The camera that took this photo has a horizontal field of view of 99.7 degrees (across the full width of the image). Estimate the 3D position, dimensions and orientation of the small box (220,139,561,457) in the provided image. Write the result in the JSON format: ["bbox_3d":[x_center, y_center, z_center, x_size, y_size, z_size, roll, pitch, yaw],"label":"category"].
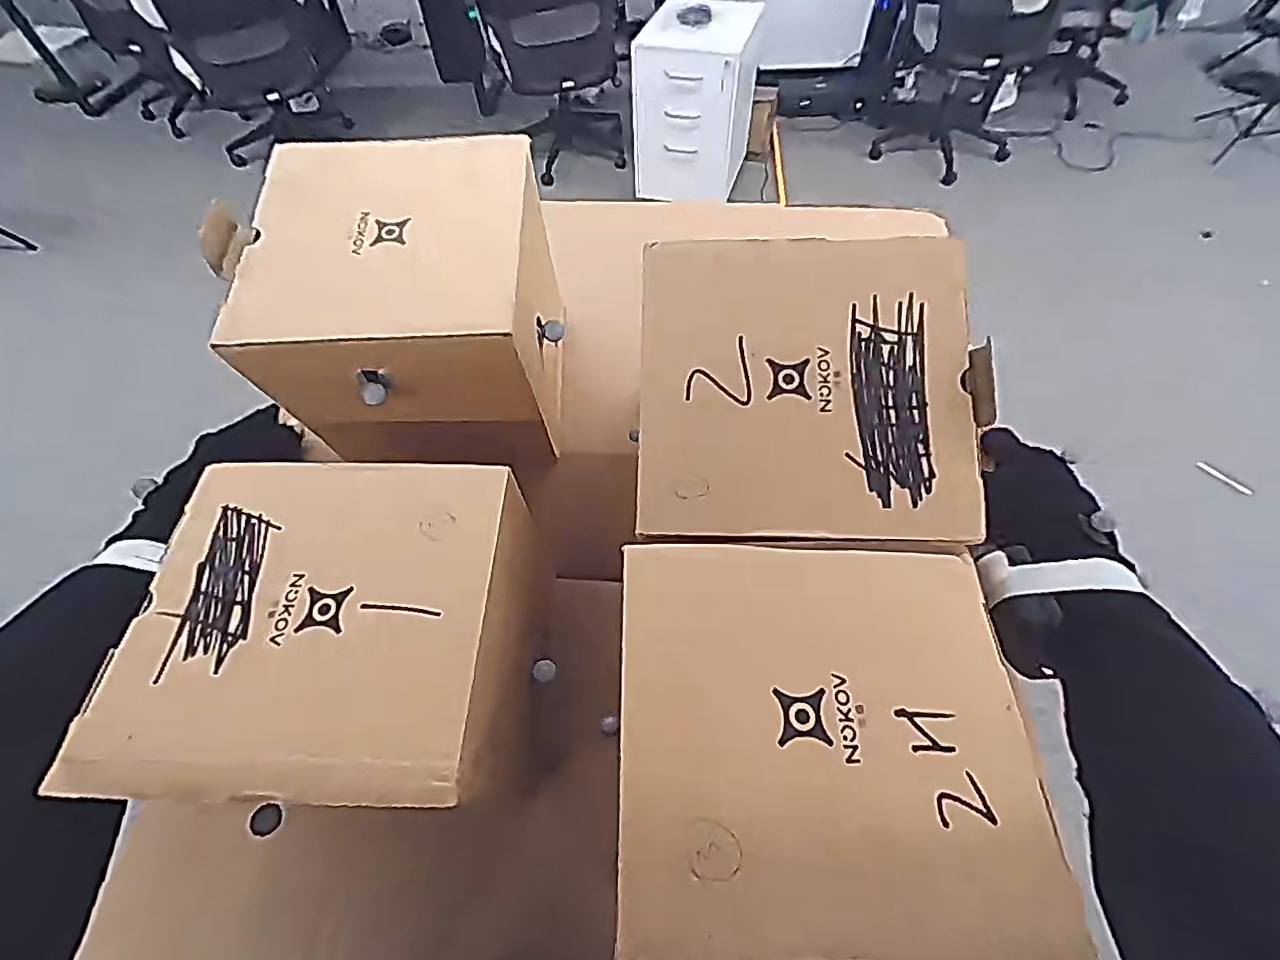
[{"bbox_3d":[-0.160,-0.126,0.420,0.179,0.176,0.168,-2,66,2],"label":"small box"}]
